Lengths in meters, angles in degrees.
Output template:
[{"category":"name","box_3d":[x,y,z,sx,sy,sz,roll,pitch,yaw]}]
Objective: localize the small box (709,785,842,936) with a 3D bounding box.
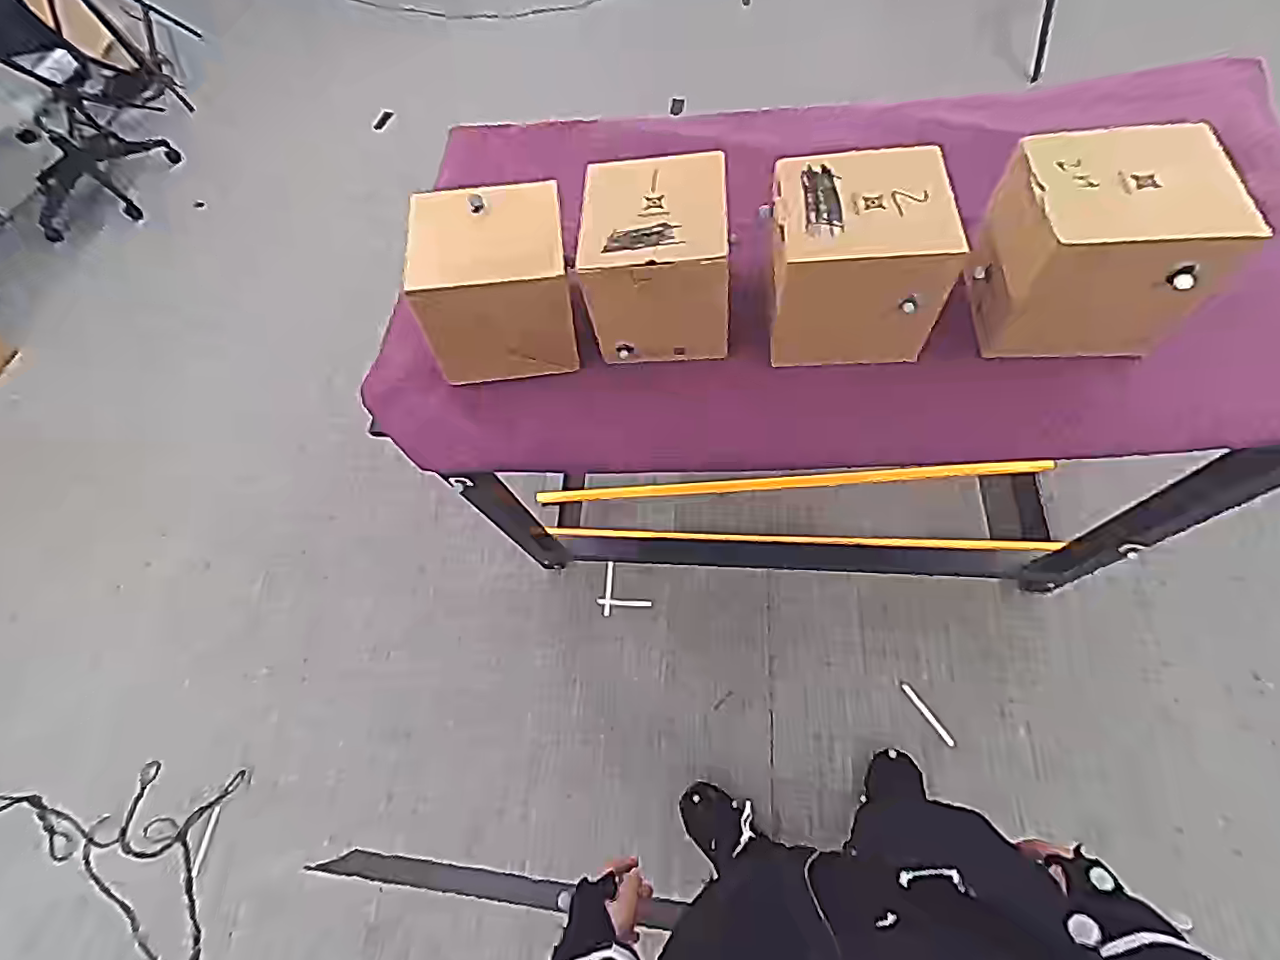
[{"category":"small box","box_3d":[0.241,0.692,0.998,0.179,0.176,0.168,-35,62,-11]}]
